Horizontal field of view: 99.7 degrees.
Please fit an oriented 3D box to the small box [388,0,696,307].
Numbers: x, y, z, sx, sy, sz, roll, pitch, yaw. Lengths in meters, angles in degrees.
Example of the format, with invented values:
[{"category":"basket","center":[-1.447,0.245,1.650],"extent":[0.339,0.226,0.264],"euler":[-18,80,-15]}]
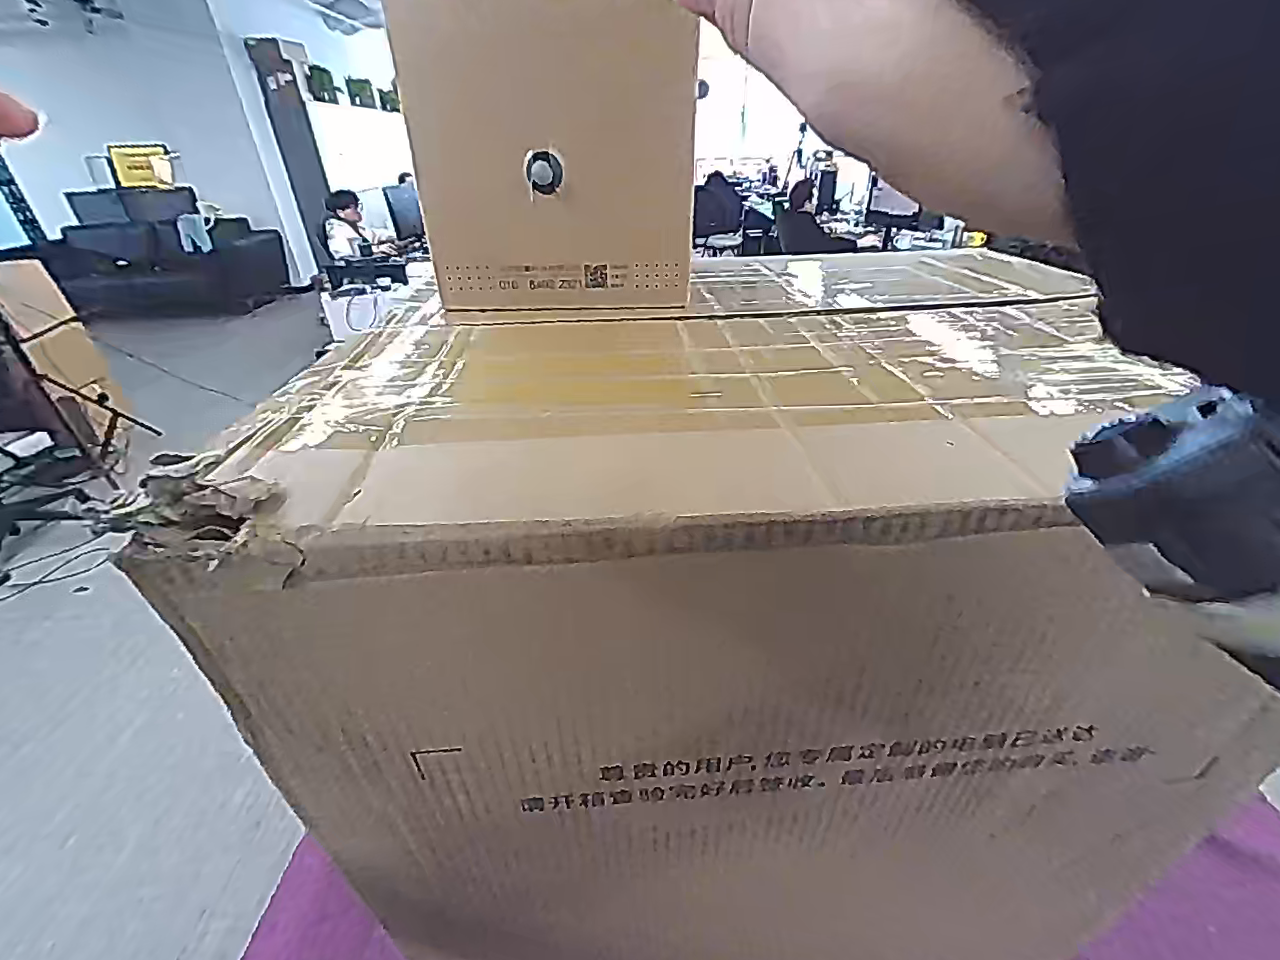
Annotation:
[{"category":"small box","center":[-0.049,-0.227,0.389],"extent":[0.168,0.176,0.179],"euler":[0,32,-1]}]
